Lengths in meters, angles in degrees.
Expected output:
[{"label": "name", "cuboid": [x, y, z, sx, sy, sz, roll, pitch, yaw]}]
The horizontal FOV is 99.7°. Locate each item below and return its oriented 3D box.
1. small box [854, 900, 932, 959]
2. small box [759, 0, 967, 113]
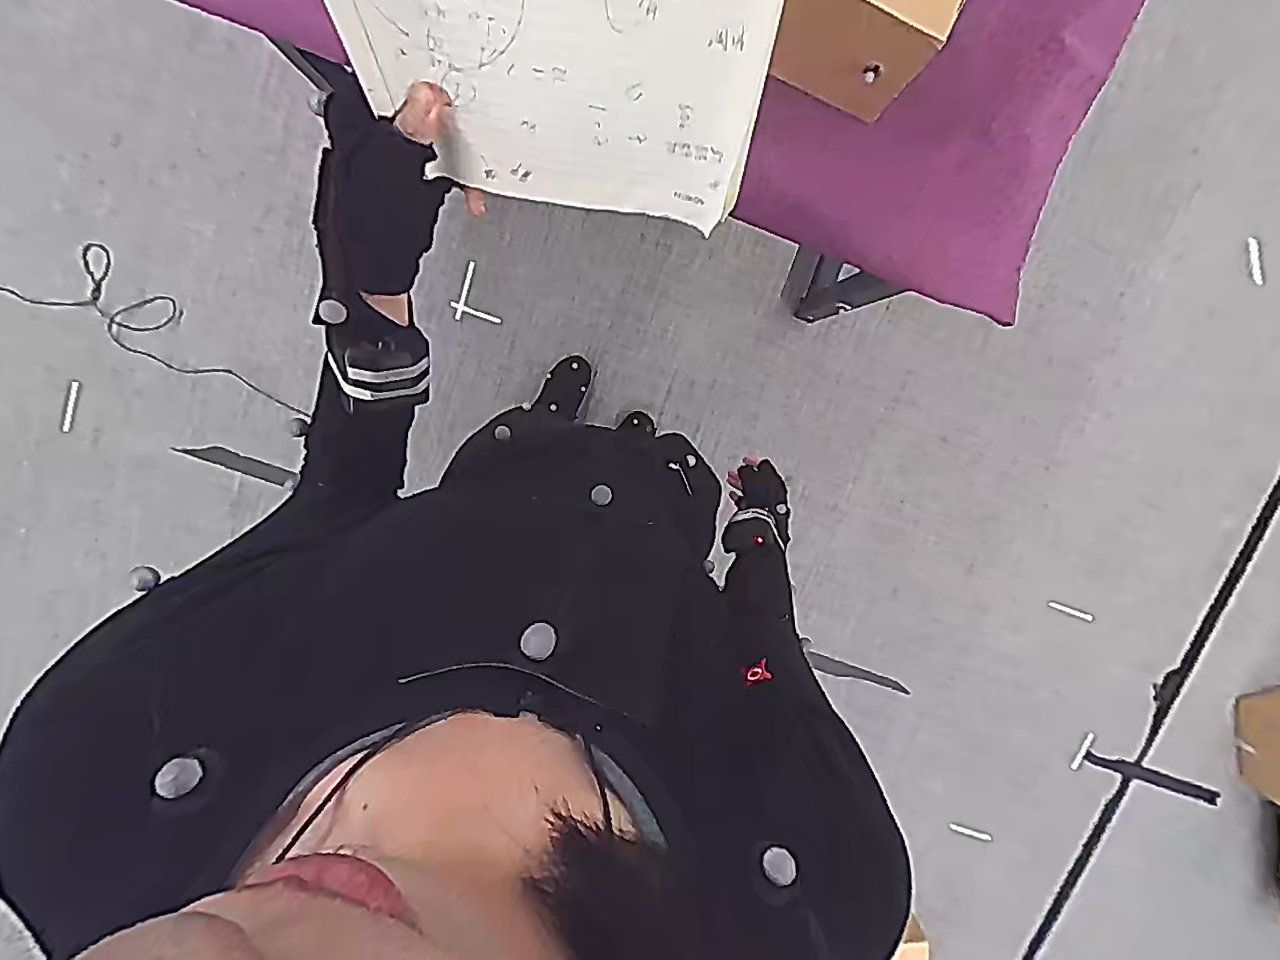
[{"label": "small box", "cuboid": [0.796, 1.487, 1.714, 0.168, 0.176, 0.179, -3, 99, -2]}, {"label": "small box", "cuboid": [0.259, -0.559, 0.608, 0.179, 0.176, 0.168, 22, 96, -4]}]
